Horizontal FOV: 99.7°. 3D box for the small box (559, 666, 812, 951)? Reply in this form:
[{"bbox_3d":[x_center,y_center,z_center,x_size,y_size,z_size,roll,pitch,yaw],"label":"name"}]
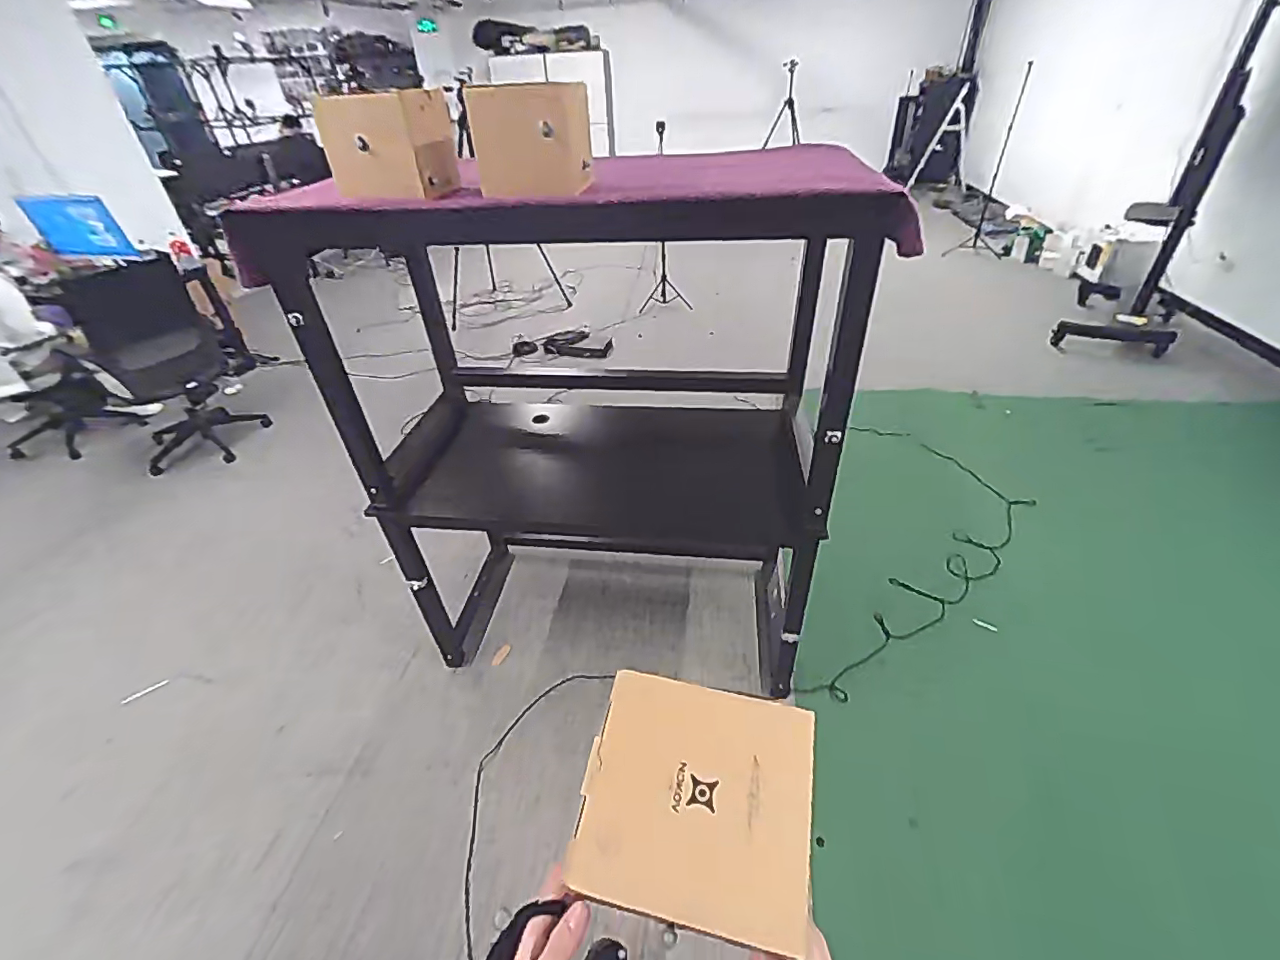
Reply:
[{"bbox_3d":[0.047,0.293,0.486,0.179,0.176,0.168,9,52,11],"label":"small box"}]

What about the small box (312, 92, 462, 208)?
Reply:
[{"bbox_3d":[-0.461,-0.621,1.019,0.179,0.176,0.168,3,37,9],"label":"small box"}]
